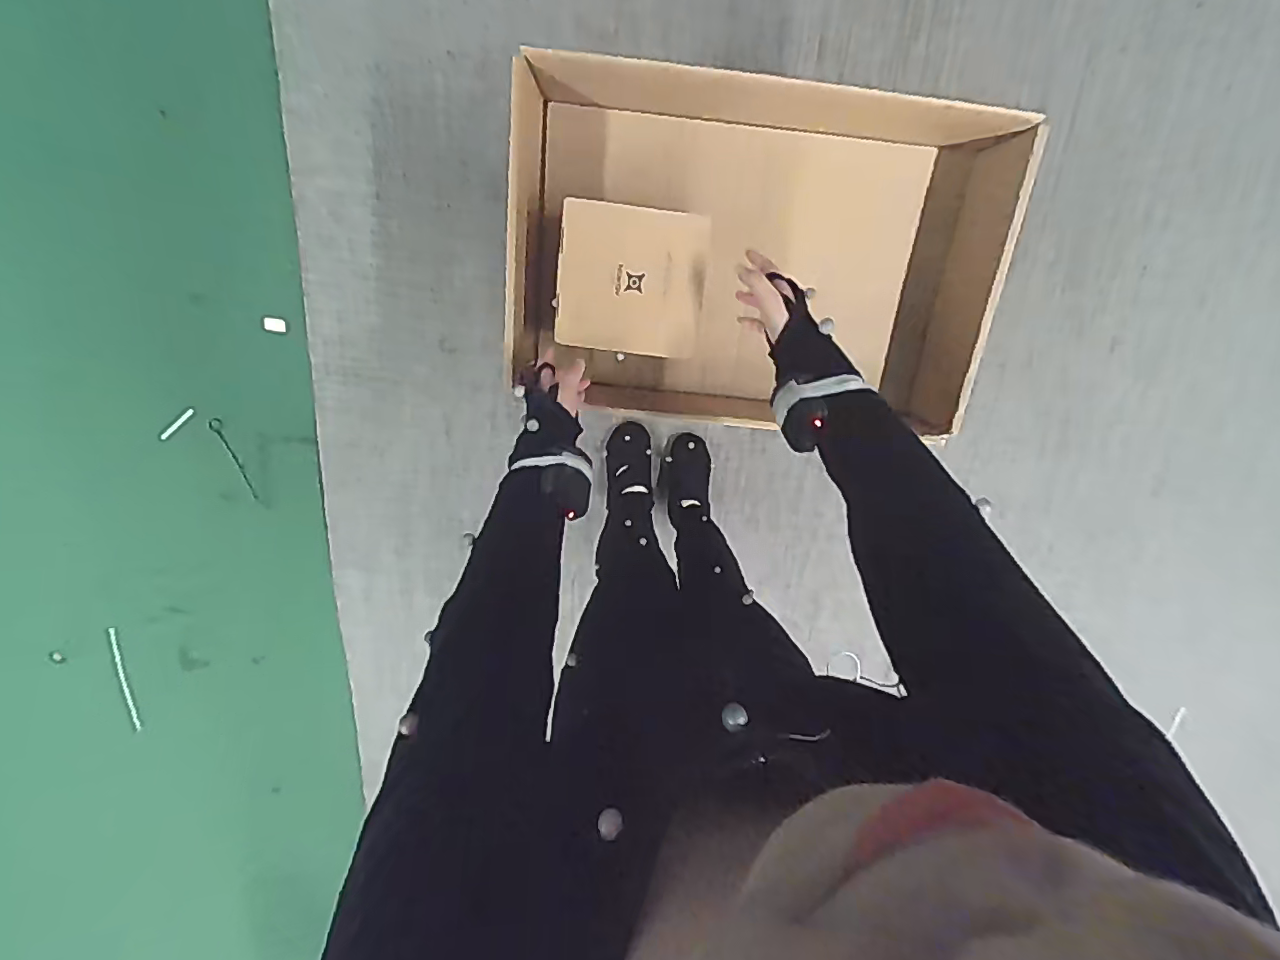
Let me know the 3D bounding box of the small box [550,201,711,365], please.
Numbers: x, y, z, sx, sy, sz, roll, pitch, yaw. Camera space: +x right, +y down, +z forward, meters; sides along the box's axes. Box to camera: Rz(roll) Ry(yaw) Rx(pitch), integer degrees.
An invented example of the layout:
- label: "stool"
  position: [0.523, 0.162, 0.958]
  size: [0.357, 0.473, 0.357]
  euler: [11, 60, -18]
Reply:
- label: "small box"
  position: [-0.013, -0.254, 0.715]
  size: [0.179, 0.176, 0.168]
  euler: [7, 109, -2]
